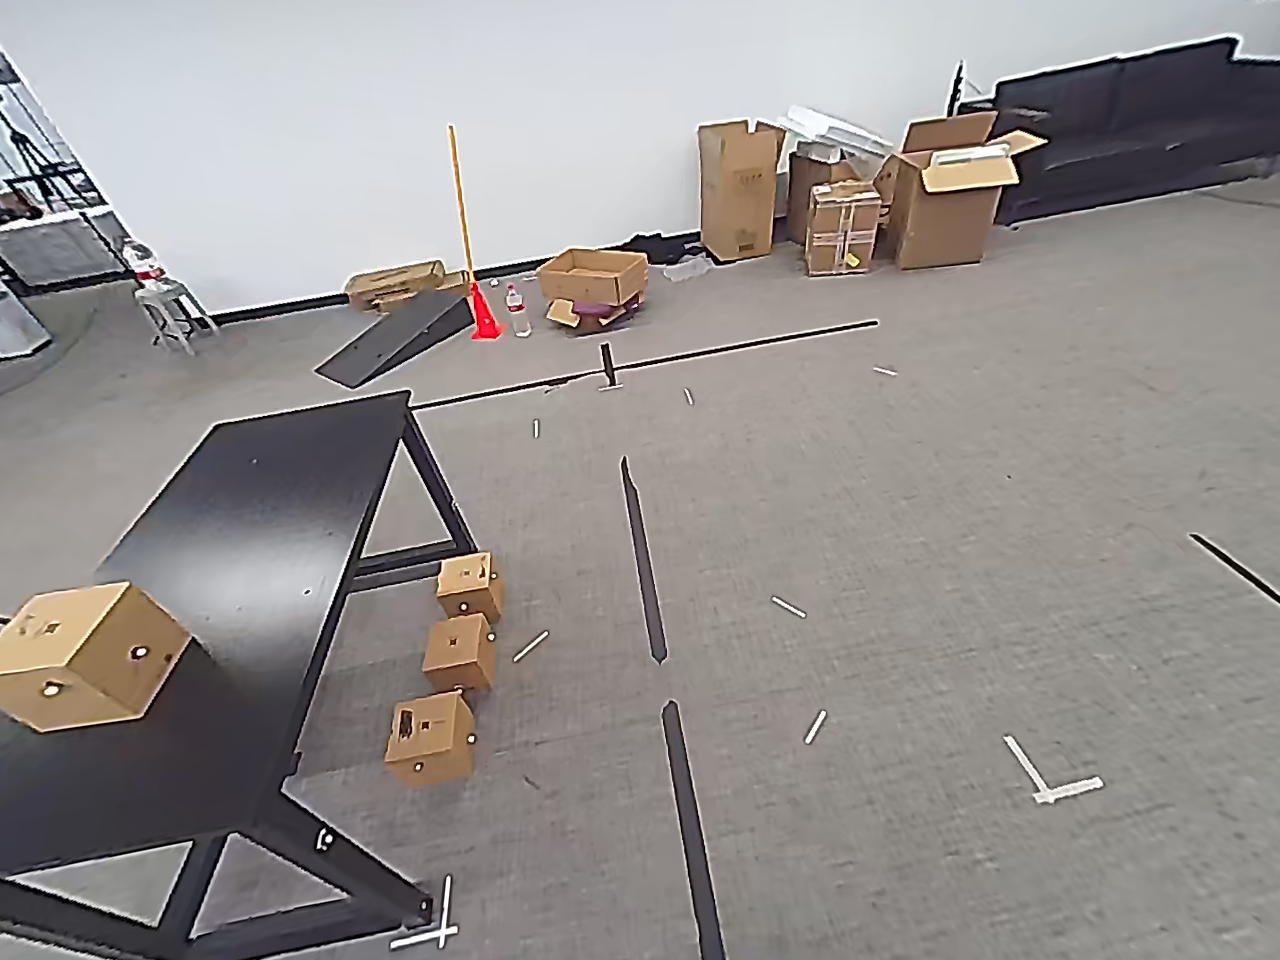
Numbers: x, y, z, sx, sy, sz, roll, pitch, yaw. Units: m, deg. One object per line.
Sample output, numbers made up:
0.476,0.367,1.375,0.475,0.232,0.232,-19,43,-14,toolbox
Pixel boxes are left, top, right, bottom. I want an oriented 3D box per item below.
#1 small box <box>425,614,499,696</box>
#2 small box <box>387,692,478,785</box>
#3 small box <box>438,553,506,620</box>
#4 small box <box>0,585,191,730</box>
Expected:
-0.551,0.555,1.699,0.168,0.176,0.179,-12,41,-1,small box
-0.569,0.723,1.504,0.179,0.176,0.168,-11,41,-3,small box
-0.584,0.387,1.899,0.179,0.176,0.168,-12,41,-2,small box
-0.943,0.307,0.933,0.179,0.176,0.168,-9,40,1,small box
